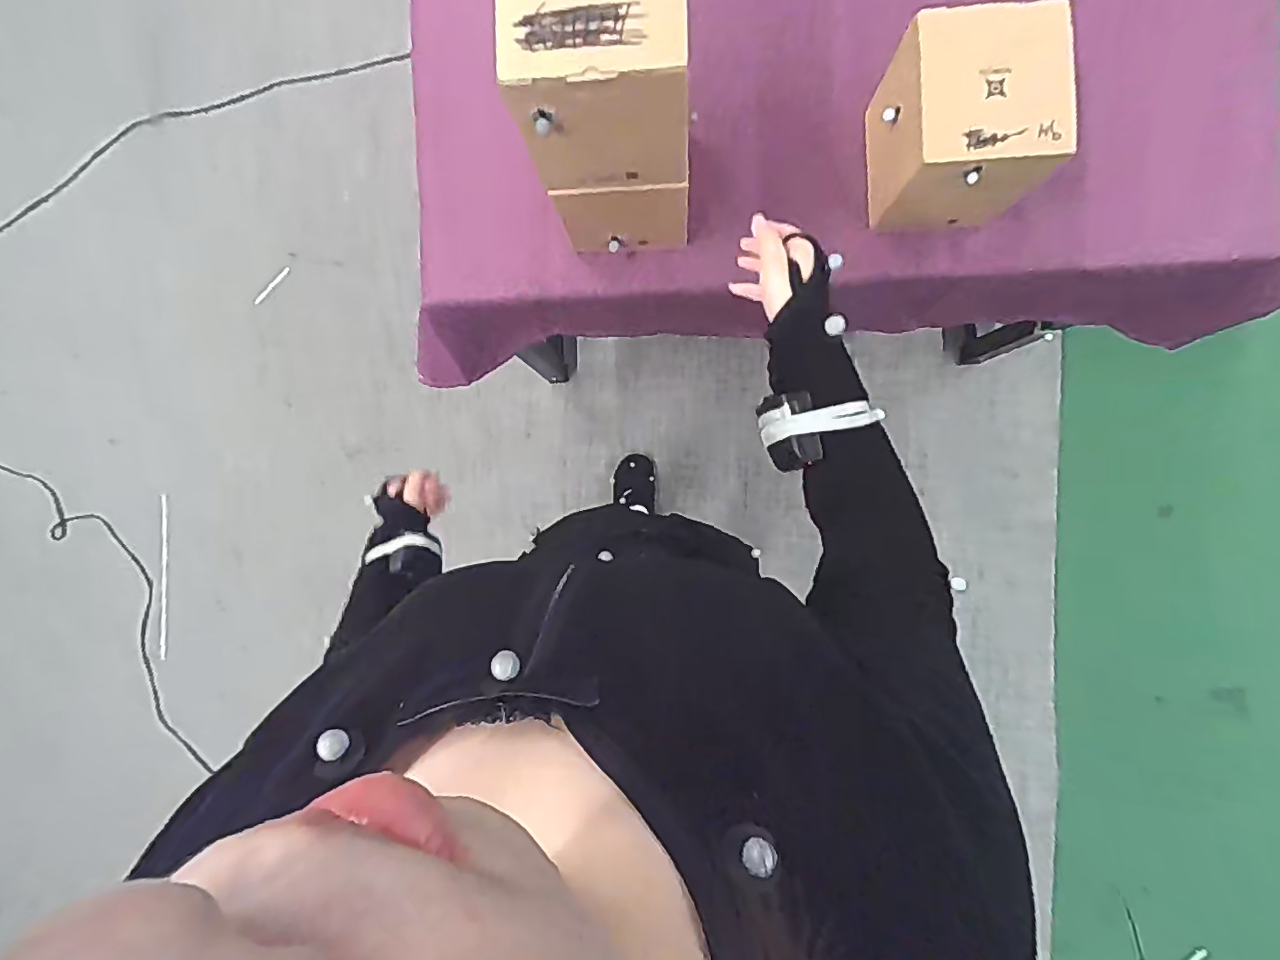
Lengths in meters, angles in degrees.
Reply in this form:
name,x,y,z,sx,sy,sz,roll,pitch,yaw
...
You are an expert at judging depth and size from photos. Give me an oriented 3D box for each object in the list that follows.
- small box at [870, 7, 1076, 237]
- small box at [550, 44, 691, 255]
name,x,y,z,sx,sy,sz,roll,pitch,yaw
small box,0.400,-0.433,0.680,0.168,0.176,0.179,-2,89,5
small box,-0.019,-0.417,0.708,0.168,0.176,0.179,0,90,4
